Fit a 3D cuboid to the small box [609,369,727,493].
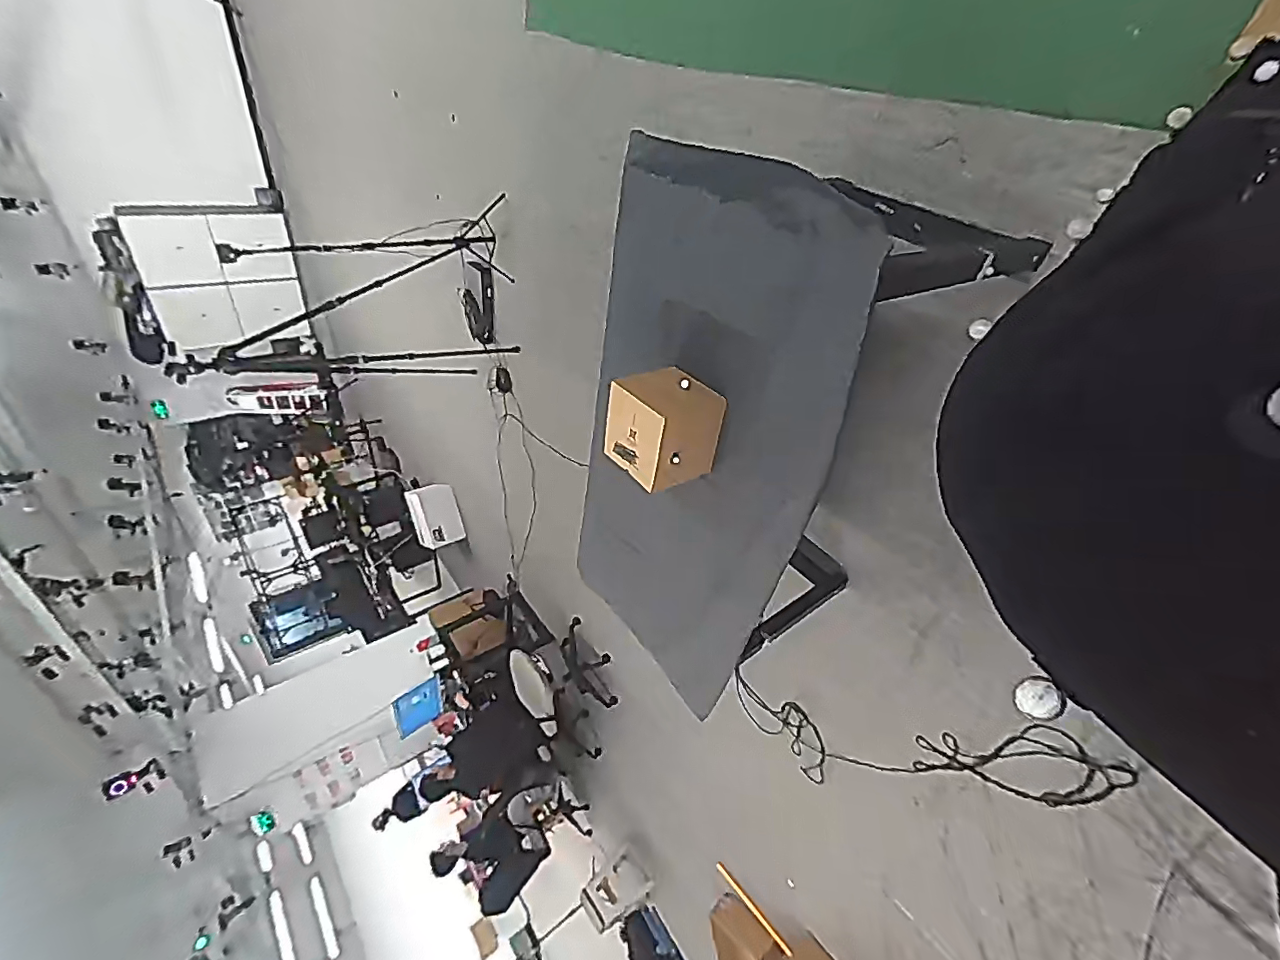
[{"bbox_3d":[0.057,-0.107,1.113,0.168,0.176,0.179,41,136,36],"label":"small box"}]
